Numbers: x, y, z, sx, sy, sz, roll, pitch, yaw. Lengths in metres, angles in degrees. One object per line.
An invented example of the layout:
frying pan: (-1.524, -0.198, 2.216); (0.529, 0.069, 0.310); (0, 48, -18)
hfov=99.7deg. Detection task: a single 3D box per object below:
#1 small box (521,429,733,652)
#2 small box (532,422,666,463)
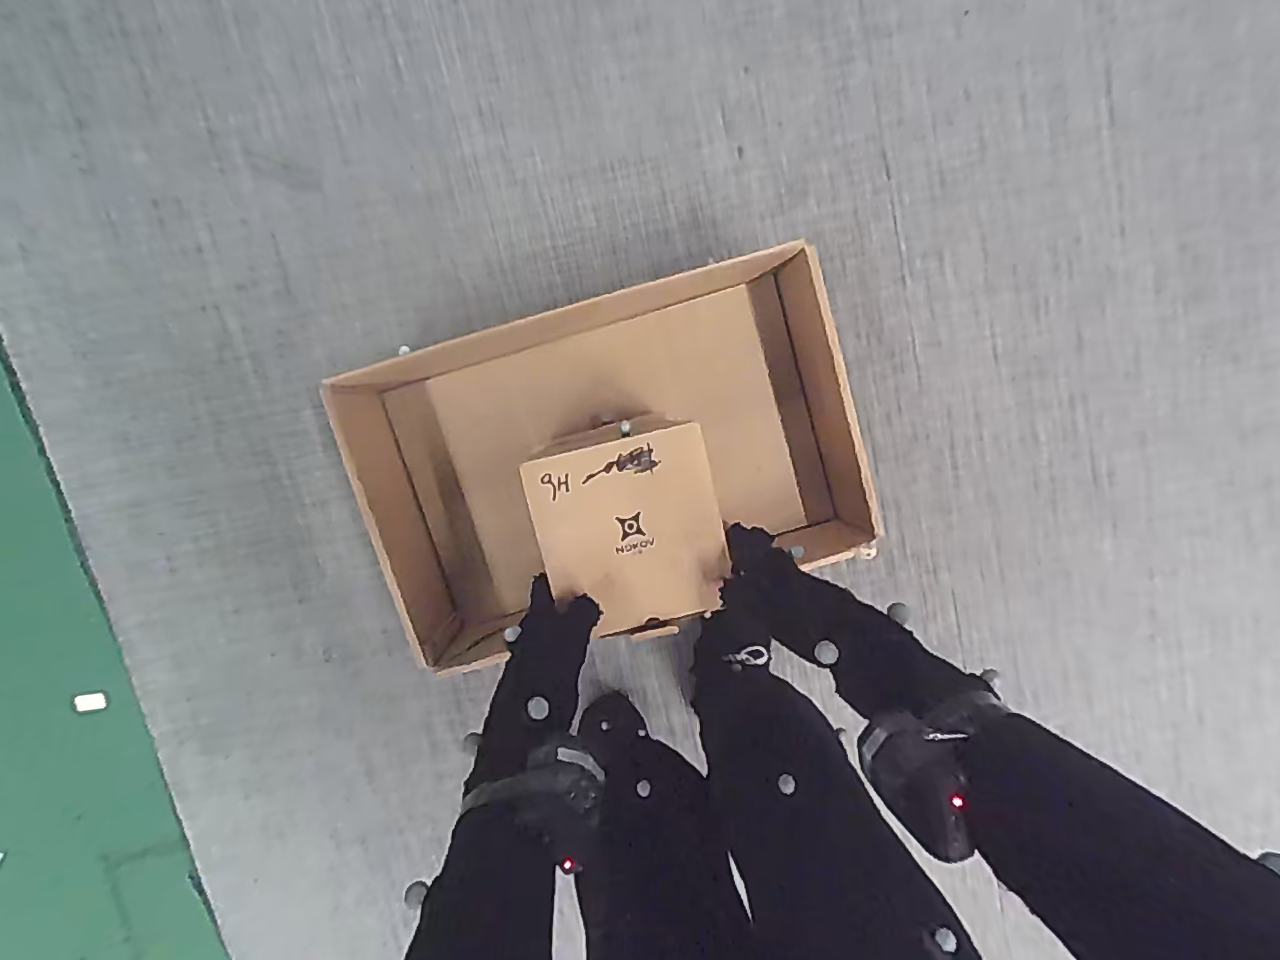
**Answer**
small box: (-0.013, 0.049, 0.567); (0.168, 0.176, 0.179); (-13, 98, -2)
small box: (-0.032, 0.025, 0.728); (0.168, 0.176, 0.179); (-15, 95, -2)
